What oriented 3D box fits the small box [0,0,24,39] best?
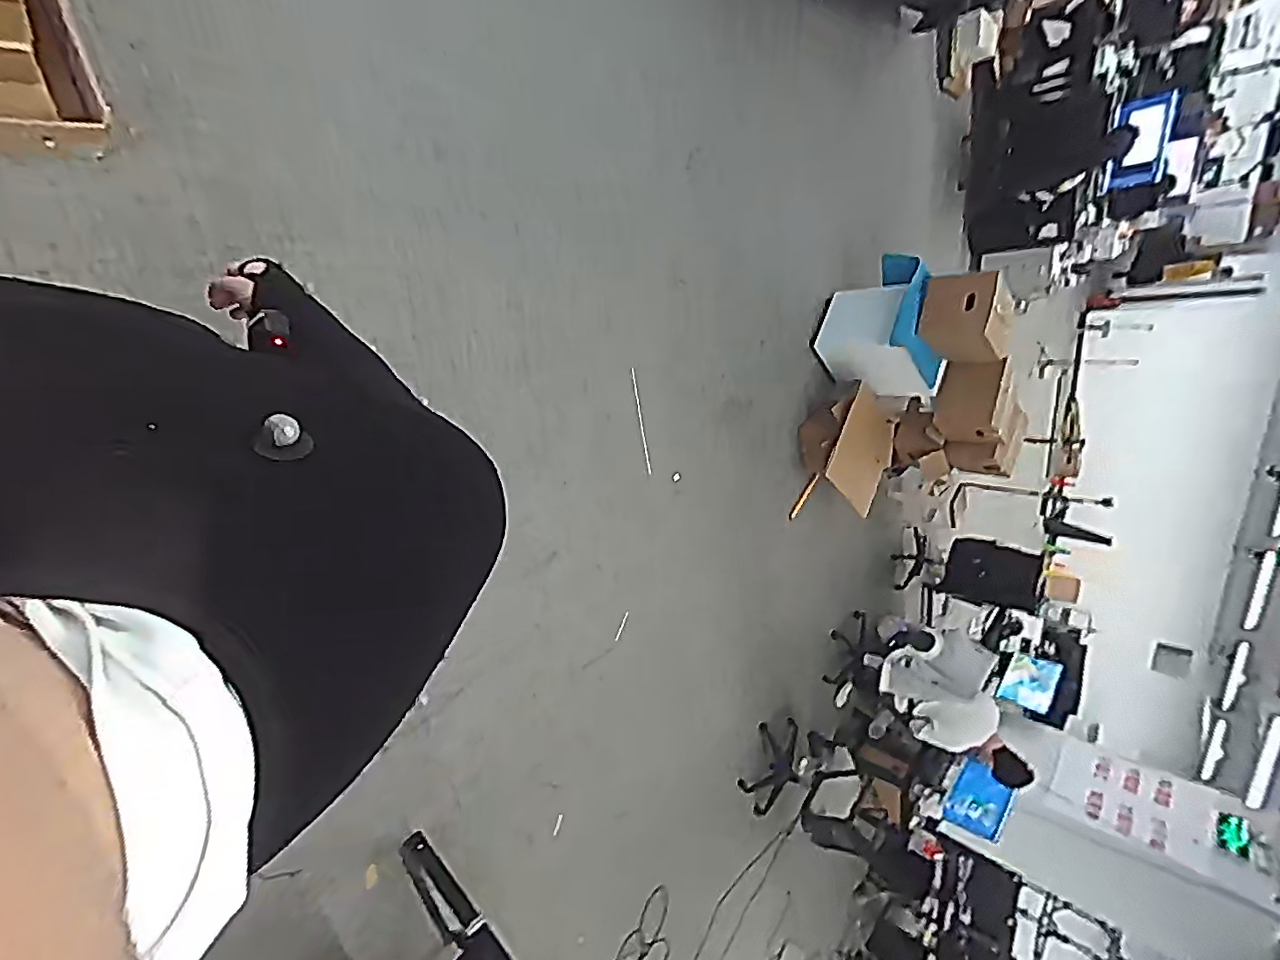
[{"bbox_3d":[-1.030,-0.756,0.757,0.179,0.176,0.168,-27,118,-39],"label":"small box"}]
